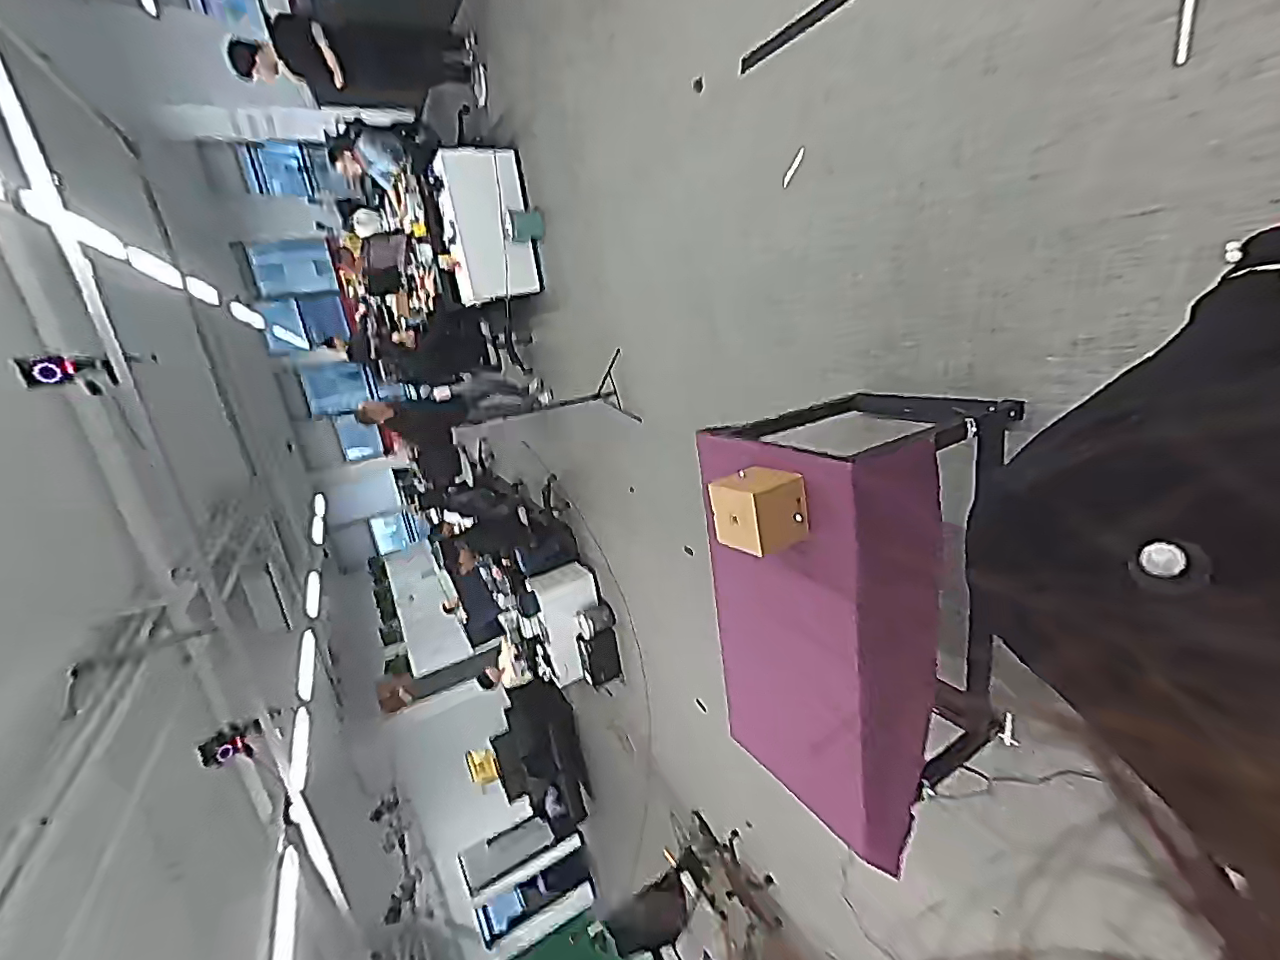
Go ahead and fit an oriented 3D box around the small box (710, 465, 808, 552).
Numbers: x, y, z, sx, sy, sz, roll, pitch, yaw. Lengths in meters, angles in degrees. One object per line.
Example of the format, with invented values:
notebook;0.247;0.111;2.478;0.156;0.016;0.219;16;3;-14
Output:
small box;0.306;0.065;1.399;0.179;0.176;0.168;17;122;60
